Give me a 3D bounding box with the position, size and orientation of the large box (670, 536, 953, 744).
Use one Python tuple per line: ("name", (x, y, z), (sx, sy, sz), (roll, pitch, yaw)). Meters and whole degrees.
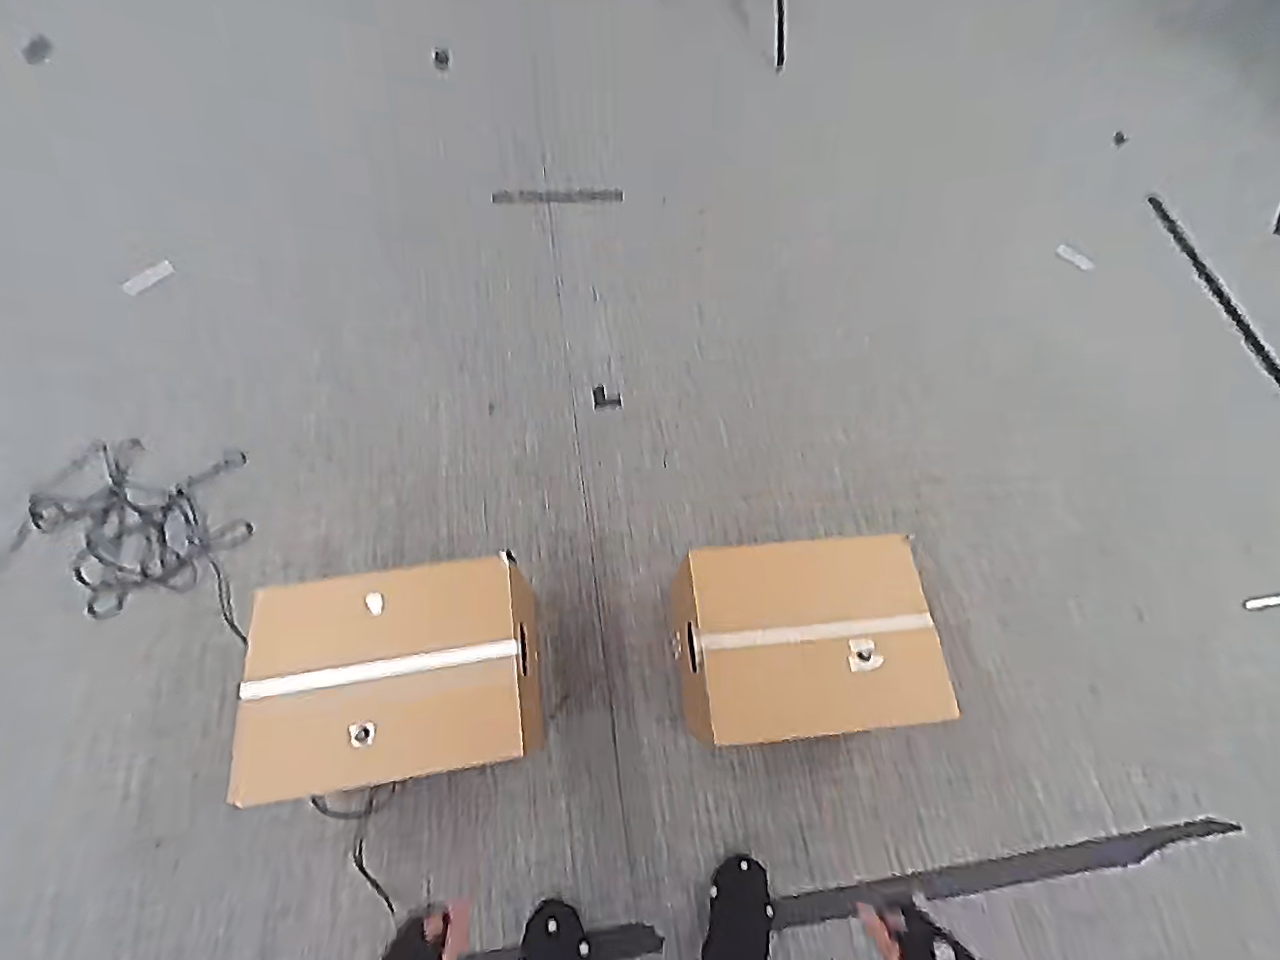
("large box", (0.289, 0.317, 1.054), (0.408, 0.320, 0.320), (-3, 67, -6))
